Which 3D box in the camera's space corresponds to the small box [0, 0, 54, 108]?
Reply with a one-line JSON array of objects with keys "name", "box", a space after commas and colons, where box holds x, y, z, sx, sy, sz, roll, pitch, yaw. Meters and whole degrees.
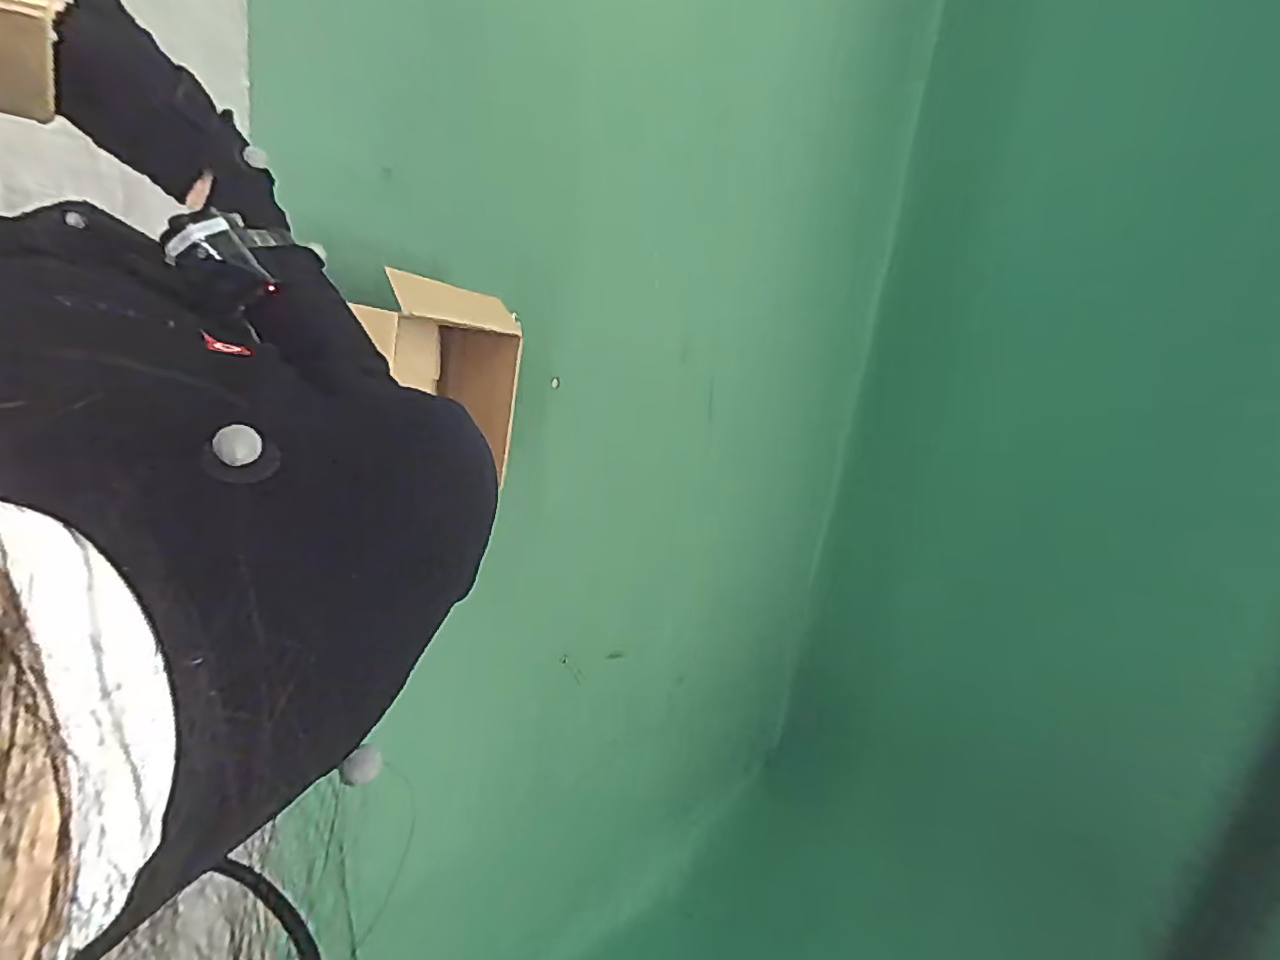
[{"name": "small box", "box": [-0.388, -0.293, 0.229, 0.168, 0.176, 0.179, -17, 111, -45]}]
